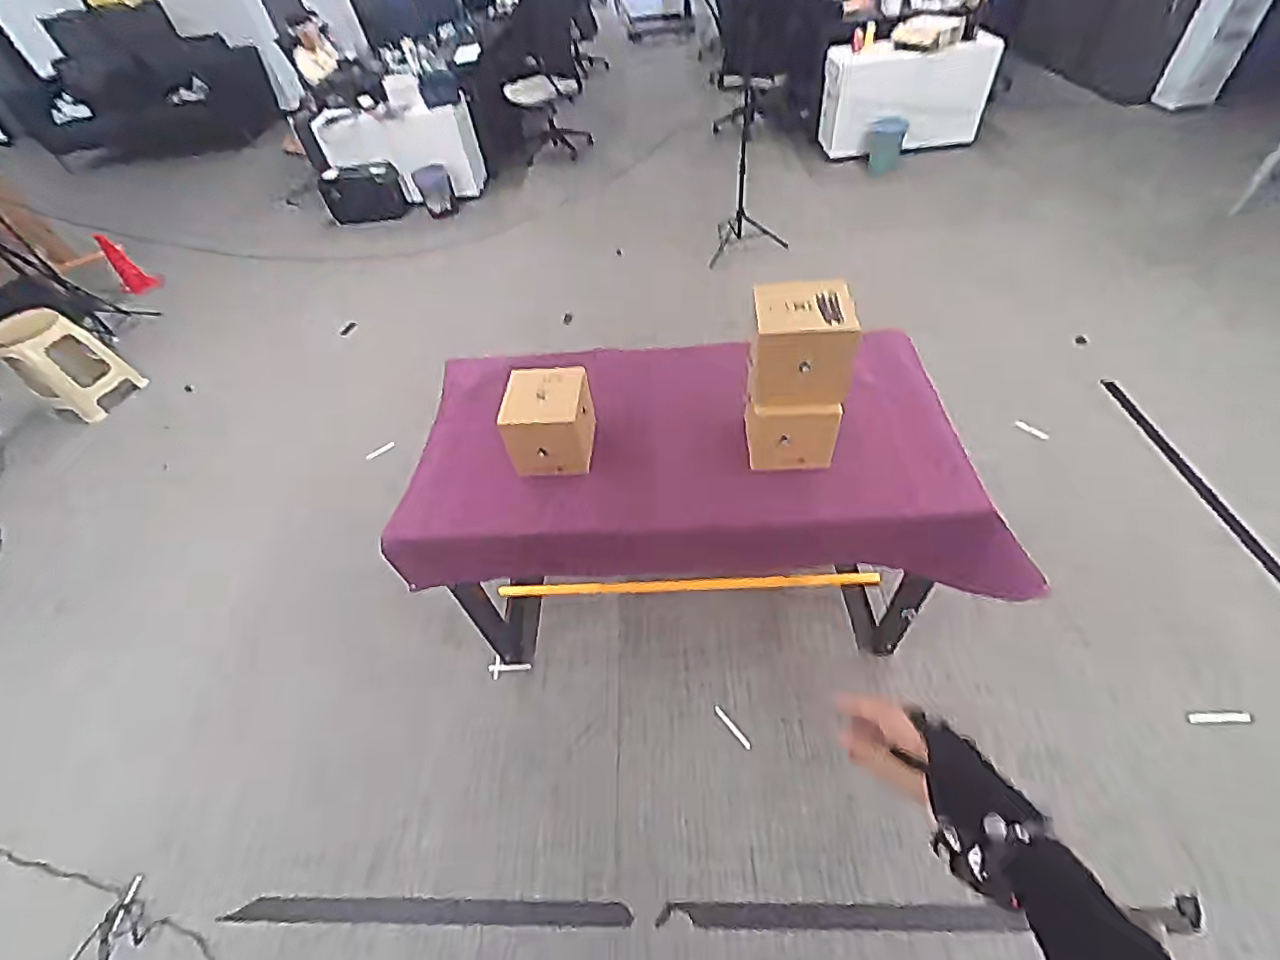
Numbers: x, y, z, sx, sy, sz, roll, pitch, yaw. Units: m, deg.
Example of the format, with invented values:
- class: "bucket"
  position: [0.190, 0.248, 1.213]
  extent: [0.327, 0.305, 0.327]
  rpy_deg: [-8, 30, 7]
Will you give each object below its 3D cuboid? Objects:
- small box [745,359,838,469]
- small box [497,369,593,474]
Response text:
- class: "small box"
  position: [0.315, -0.135, 1.159]
  extent: [0.168, 0.176, 0.179]
  rpy_deg: [-2, 48, 6]
- class: "small box"
  position: [-0.203, -0.126, 1.212]
  extent: [0.168, 0.176, 0.179]
  rpy_deg: [-1, 49, 5]
